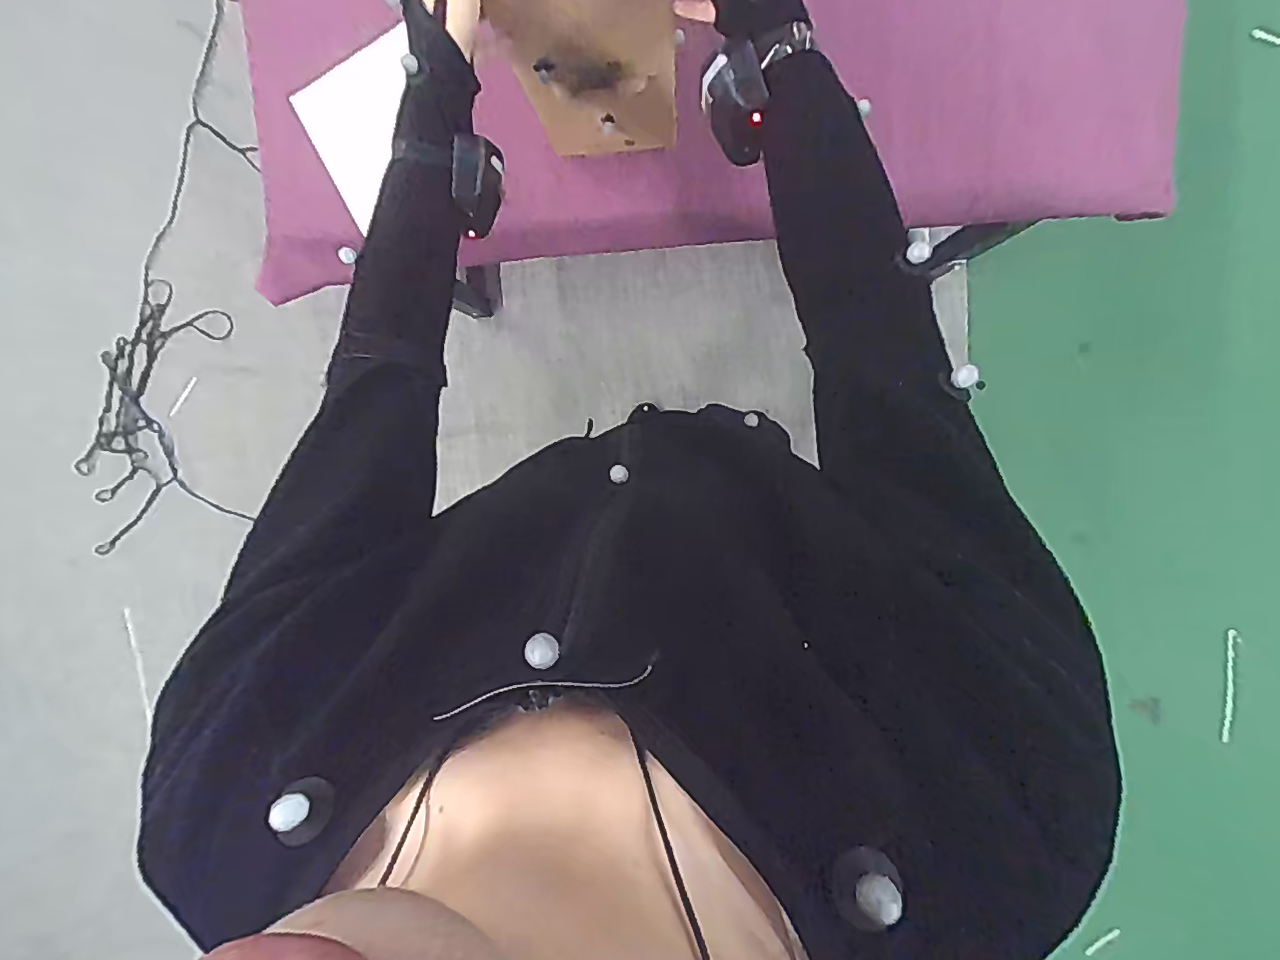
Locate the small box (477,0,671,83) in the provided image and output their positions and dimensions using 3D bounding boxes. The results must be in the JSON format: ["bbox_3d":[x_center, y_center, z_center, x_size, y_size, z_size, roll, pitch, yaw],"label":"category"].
[{"bbox_3d":[-0.057,-0.496,0.489,0.168,0.176,0.179,-2,94,4],"label":"small box"}]

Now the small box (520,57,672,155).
[{"bbox_3d":[-0.046,-0.518,0.652,0.168,0.176,0.179,-2,96,4],"label":"small box"}]
